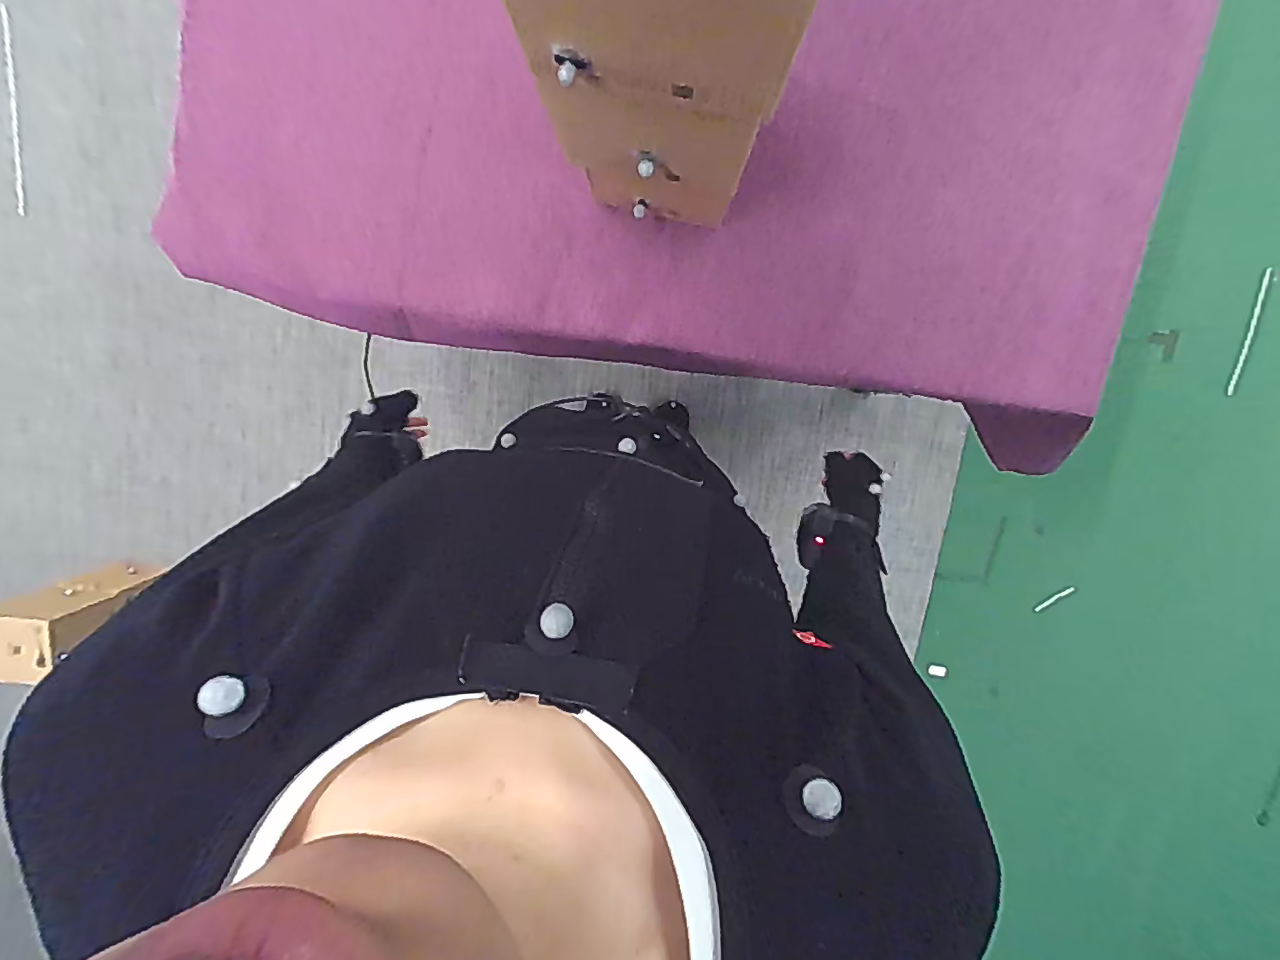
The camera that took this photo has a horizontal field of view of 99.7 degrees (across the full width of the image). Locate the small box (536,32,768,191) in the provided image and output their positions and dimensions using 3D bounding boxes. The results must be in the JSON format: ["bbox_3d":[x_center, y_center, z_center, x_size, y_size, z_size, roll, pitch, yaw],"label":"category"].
[{"bbox_3d":[0.027,-0.366,0.433,0.168,0.176,0.179,11,100,1],"label":"small box"}]

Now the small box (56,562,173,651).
[{"bbox_3d":[-1.434,0.343,1.486,0.168,0.176,0.179,7,99,0],"label":"small box"}]

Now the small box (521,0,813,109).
[{"bbox_3d":[0.024,-0.330,0.272,0.168,0.176,0.179,12,99,0],"label":"small box"}]

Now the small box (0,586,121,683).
[{"bbox_3d":[-1.437,0.370,1.324,0.179,0.176,0.168,7,99,1],"label":"small box"}]

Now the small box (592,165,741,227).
[{"bbox_3d":[0.039,-0.406,0.592,0.168,0.176,0.179,13,100,0],"label":"small box"}]
